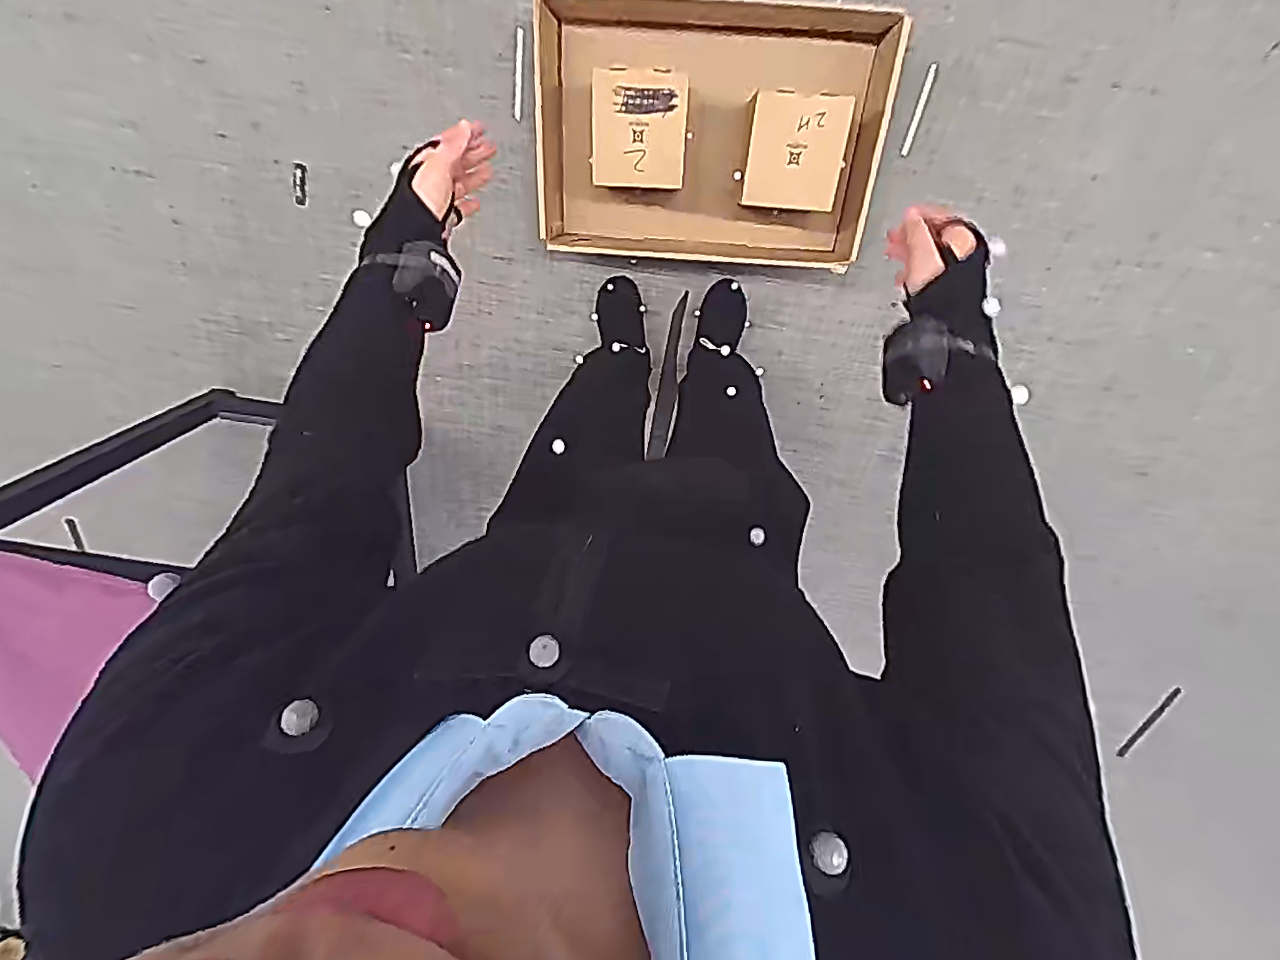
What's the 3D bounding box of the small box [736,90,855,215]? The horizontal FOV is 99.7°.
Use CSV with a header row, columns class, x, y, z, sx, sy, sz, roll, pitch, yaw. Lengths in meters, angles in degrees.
class,x,y,z,sx,sy,sz,roll,pitch,yaw
small box,0.278,-0.604,1.010,0.168,0.176,0.179,6,119,1
